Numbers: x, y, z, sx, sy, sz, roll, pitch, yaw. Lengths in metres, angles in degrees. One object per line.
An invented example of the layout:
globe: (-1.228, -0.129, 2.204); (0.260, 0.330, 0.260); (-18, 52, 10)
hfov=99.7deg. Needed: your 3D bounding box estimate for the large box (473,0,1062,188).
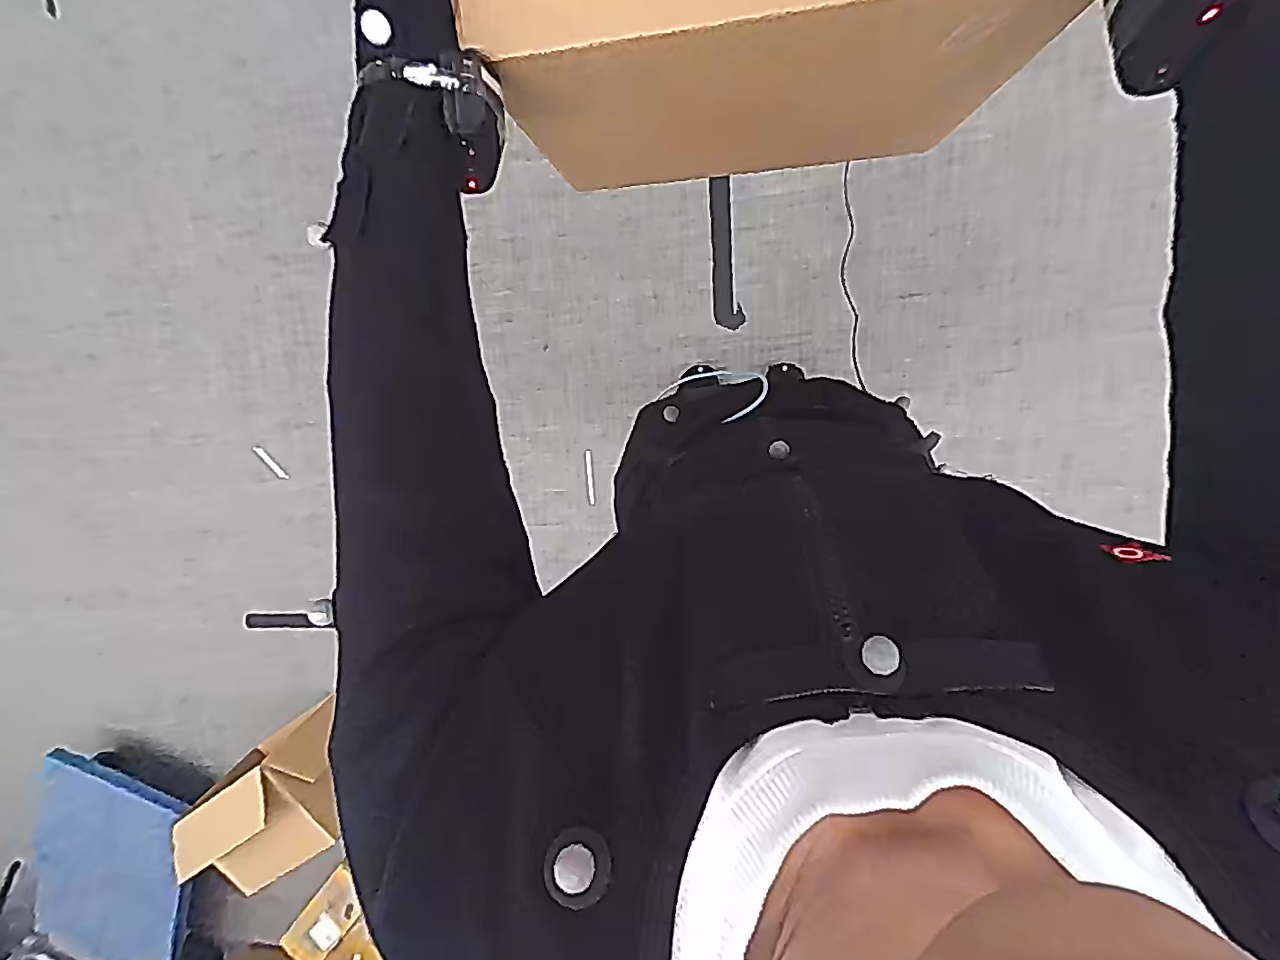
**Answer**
large box: (0.089, -0.475, 0.448); (0.408, 0.320, 0.320); (-3, 104, 7)
